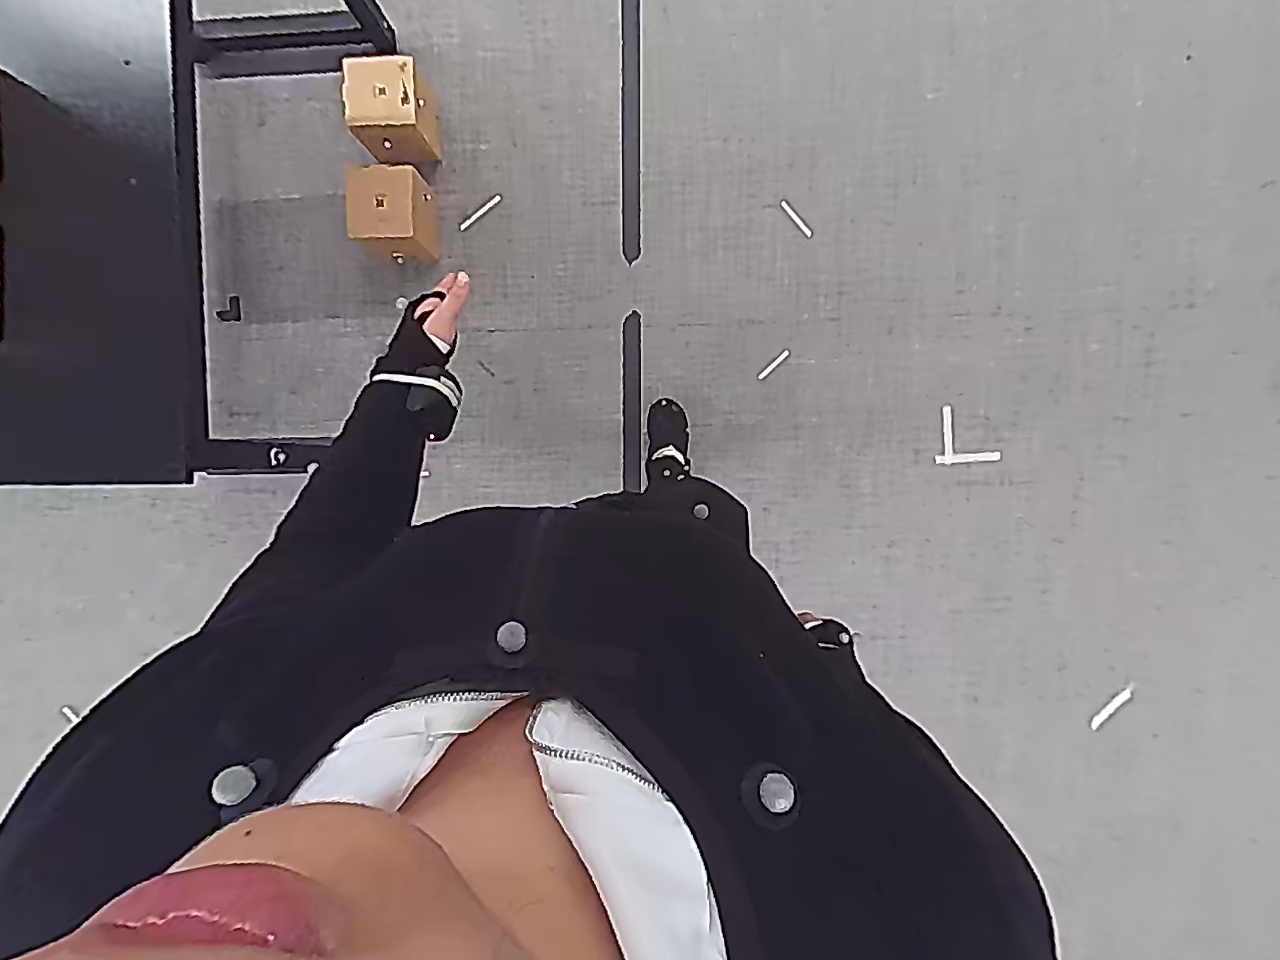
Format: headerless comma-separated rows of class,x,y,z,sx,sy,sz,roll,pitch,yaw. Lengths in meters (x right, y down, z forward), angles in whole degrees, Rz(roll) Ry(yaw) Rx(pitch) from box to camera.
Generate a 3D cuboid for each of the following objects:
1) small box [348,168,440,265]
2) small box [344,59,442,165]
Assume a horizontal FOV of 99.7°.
small box,-0.635,-0.681,1.411,0.168,0.176,0.179,-1,92,2
small box,-0.633,-0.944,1.401,0.179,0.176,0.168,-1,92,2
